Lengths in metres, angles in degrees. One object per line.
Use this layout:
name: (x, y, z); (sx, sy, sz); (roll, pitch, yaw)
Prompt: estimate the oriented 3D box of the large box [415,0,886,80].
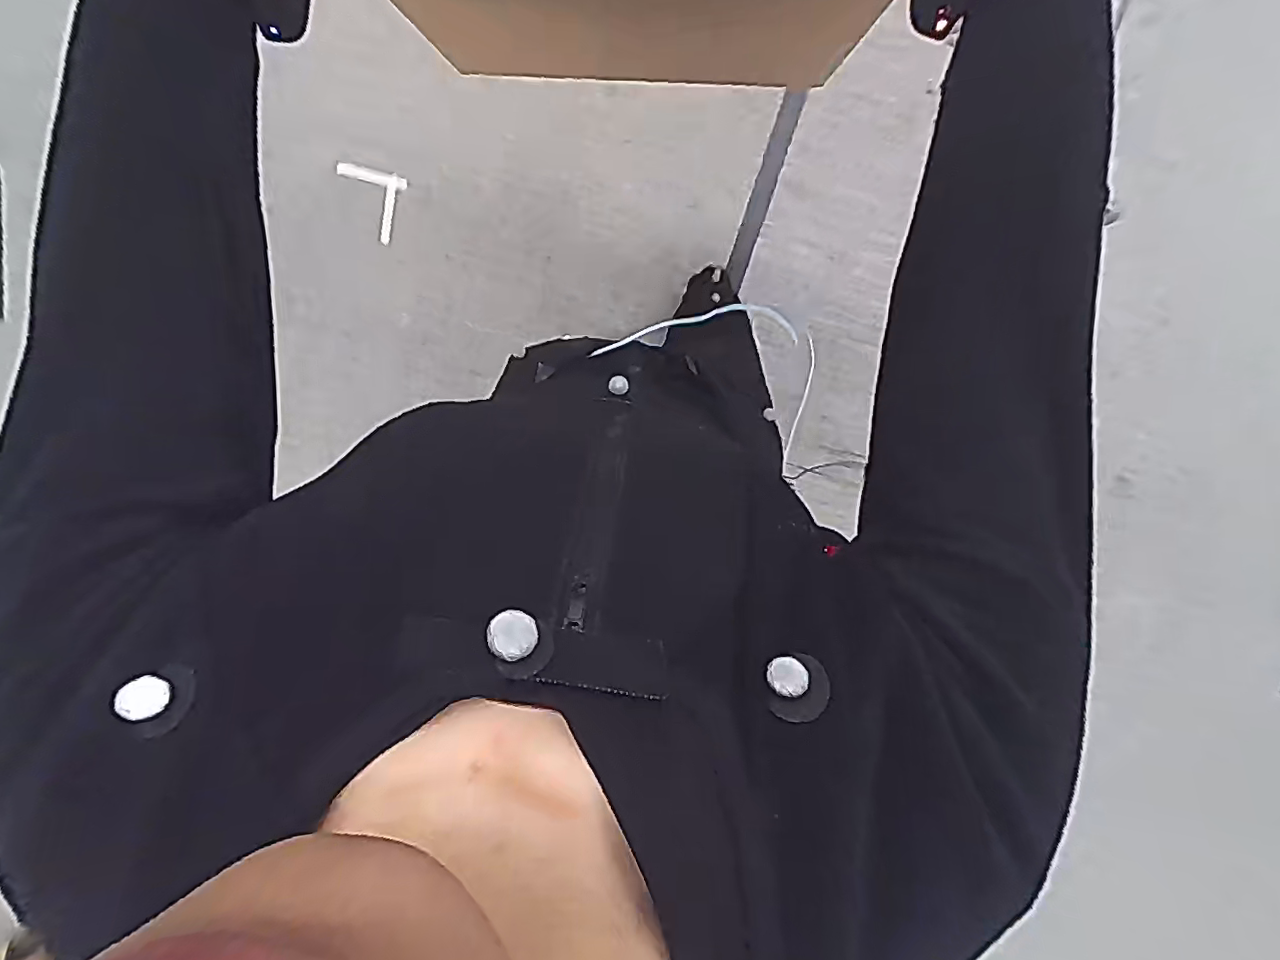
large box: (0.008, -0.540, 0.409); (0.408, 0.320, 0.320); (3, 111, 1)
